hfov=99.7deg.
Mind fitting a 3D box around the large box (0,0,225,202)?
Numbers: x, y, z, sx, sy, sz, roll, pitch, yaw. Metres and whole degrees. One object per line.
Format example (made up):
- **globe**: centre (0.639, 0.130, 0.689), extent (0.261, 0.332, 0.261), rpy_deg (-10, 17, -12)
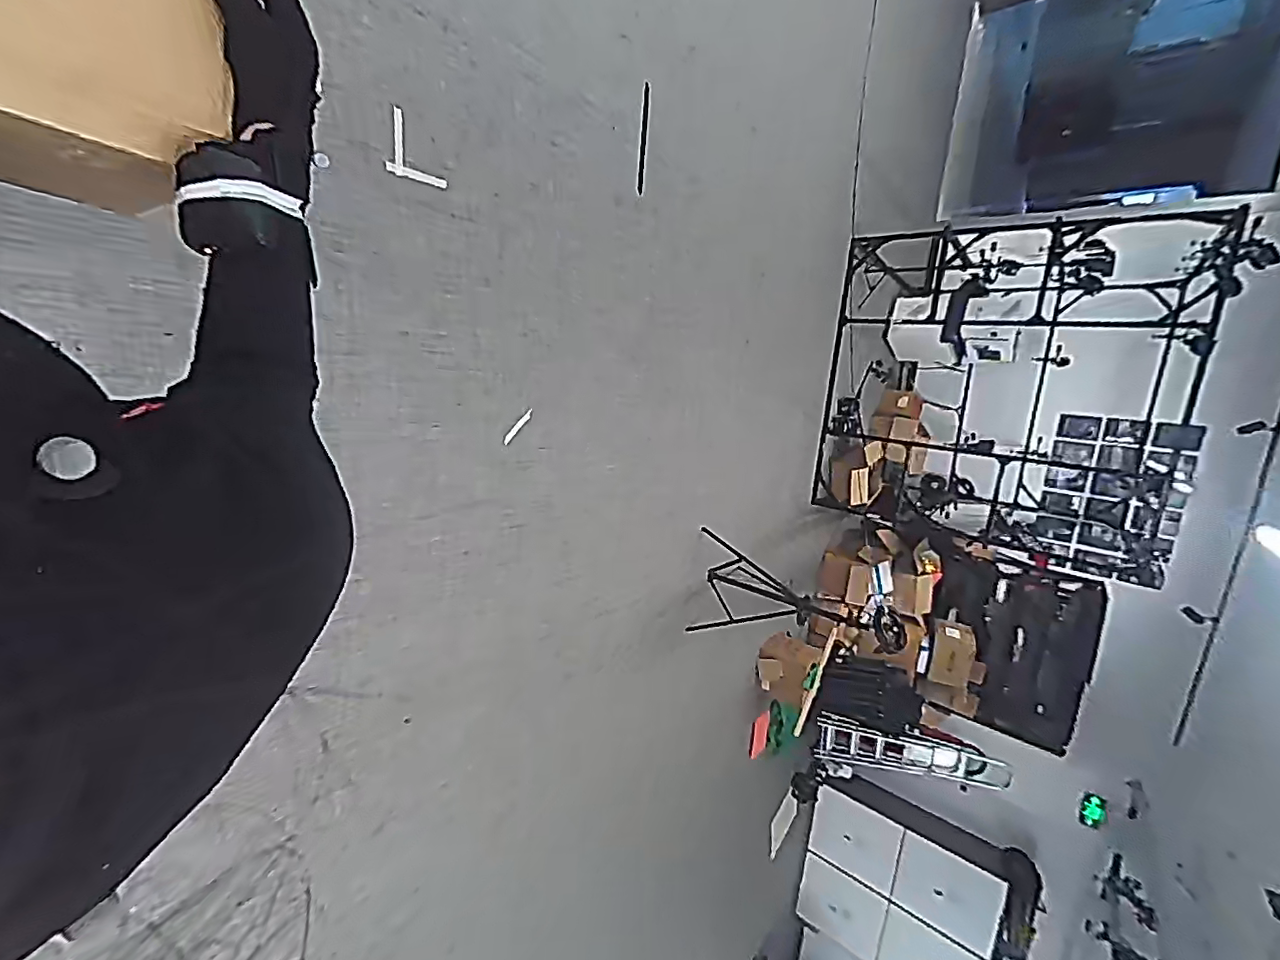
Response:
- **large box**: centre (-0.545, -0.410, 0.327), extent (0.408, 0.320, 0.320), rpy_deg (-4, 106, -54)
